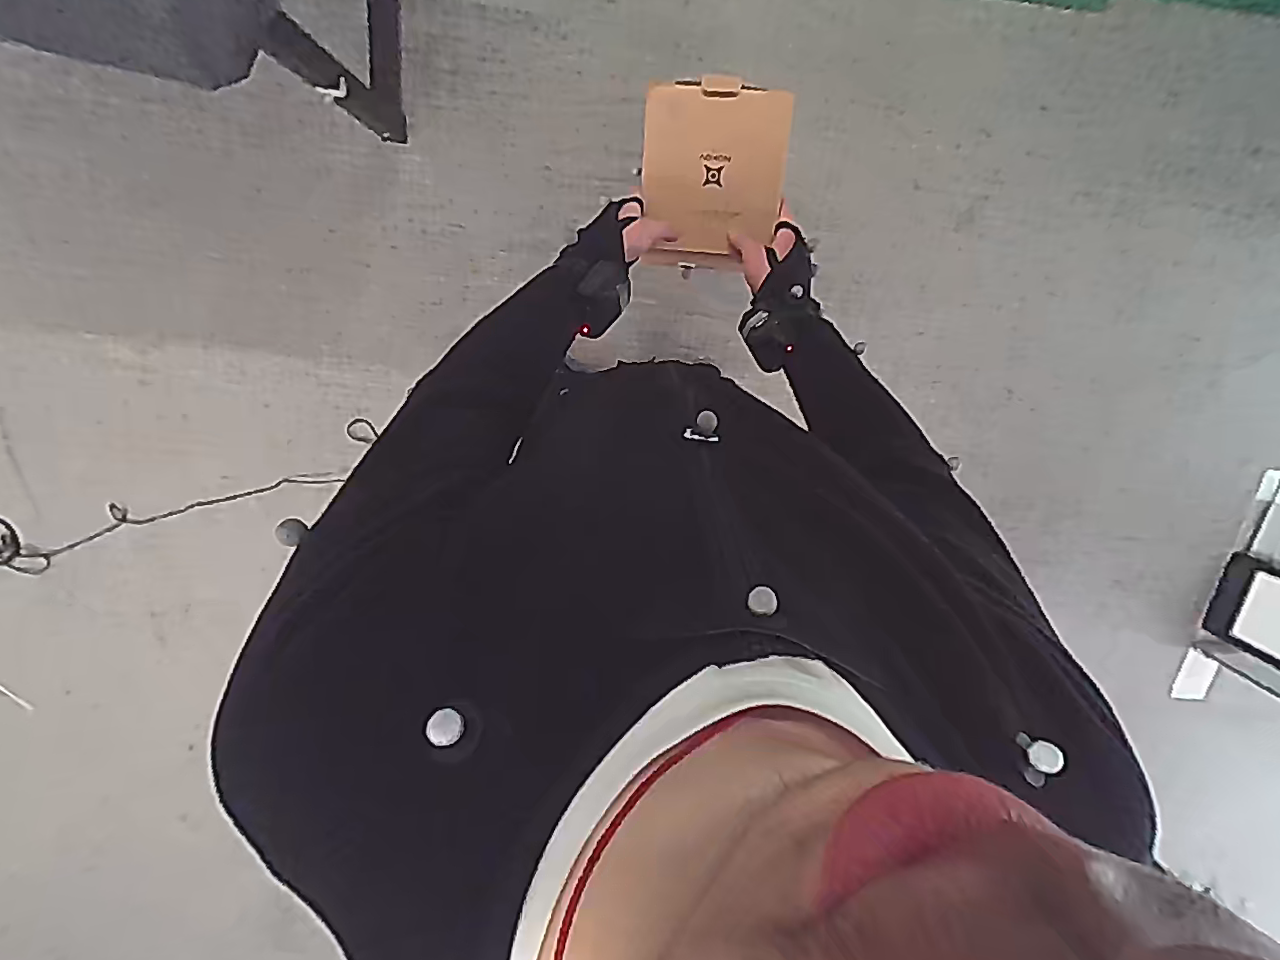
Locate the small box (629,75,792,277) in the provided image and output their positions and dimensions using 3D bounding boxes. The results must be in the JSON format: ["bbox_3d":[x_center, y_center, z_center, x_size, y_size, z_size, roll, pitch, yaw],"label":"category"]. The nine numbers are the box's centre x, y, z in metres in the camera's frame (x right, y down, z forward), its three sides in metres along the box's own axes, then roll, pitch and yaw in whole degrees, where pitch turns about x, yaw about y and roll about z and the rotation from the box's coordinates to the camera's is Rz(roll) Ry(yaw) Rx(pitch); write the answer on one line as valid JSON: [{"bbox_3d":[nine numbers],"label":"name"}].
[{"bbox_3d":[0.078,-0.365,0.682,0.168,0.176,0.179,6,105,1],"label":"small box"}]
